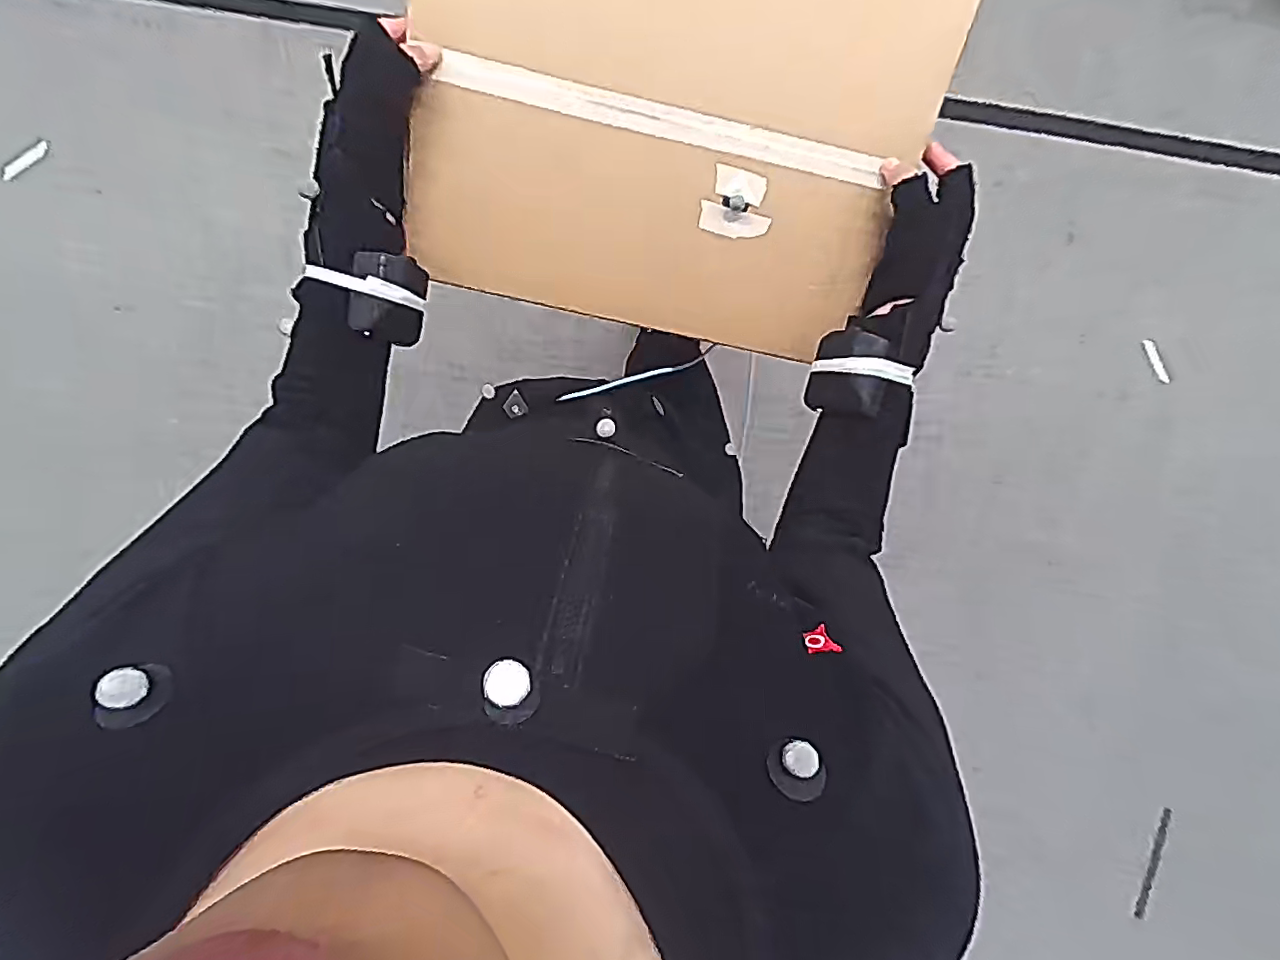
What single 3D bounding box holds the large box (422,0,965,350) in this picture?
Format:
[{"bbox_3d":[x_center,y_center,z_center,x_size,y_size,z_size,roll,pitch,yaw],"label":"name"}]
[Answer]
[{"bbox_3d":[0.025,-0.352,0.573,0.408,0.320,0.320,11,114,-6],"label":"large box"}]
